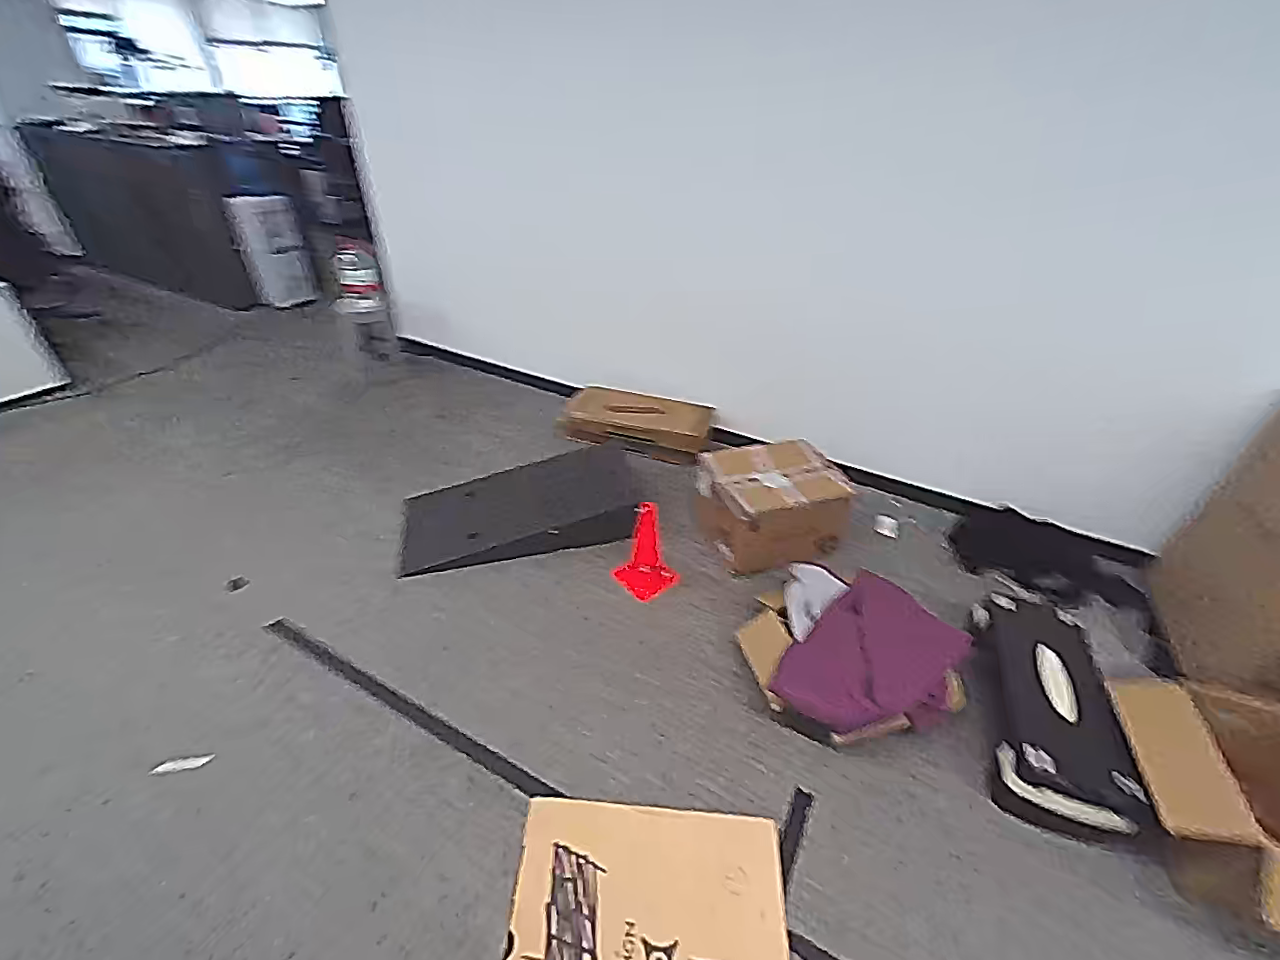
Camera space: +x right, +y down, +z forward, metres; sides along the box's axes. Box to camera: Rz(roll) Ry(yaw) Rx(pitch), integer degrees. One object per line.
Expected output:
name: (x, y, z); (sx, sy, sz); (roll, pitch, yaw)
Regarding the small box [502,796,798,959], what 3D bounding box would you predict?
small box: (0.004, 0.340, 0.367); (0.179, 0.176, 0.168); (5, 41, 1)
